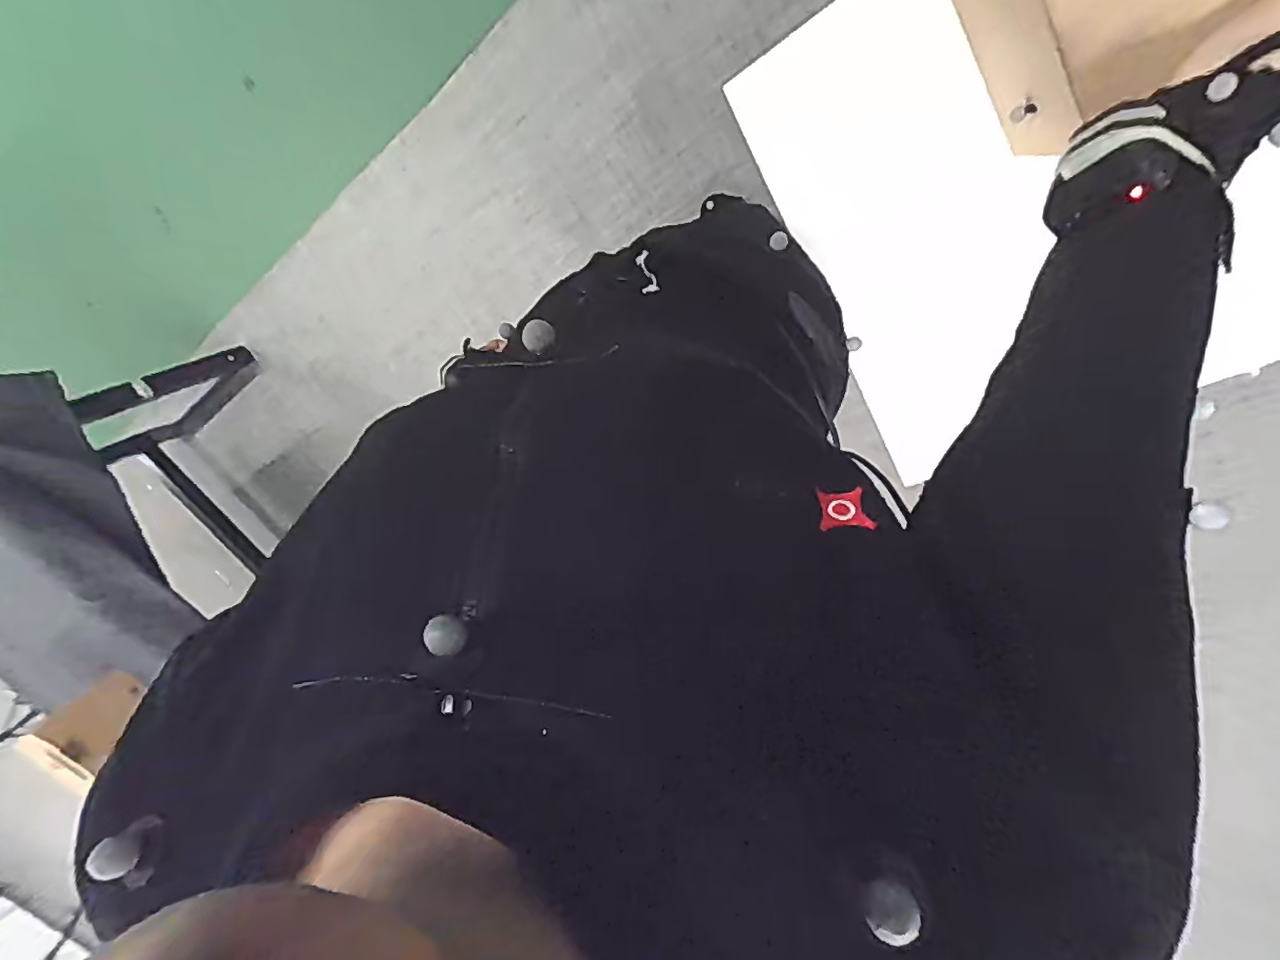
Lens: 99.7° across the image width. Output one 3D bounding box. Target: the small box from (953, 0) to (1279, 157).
[{"bbox_3d":[0.353,-0.365,0.384,0.168,0.176,0.179,-28,108,26],"label":"small box"}]
